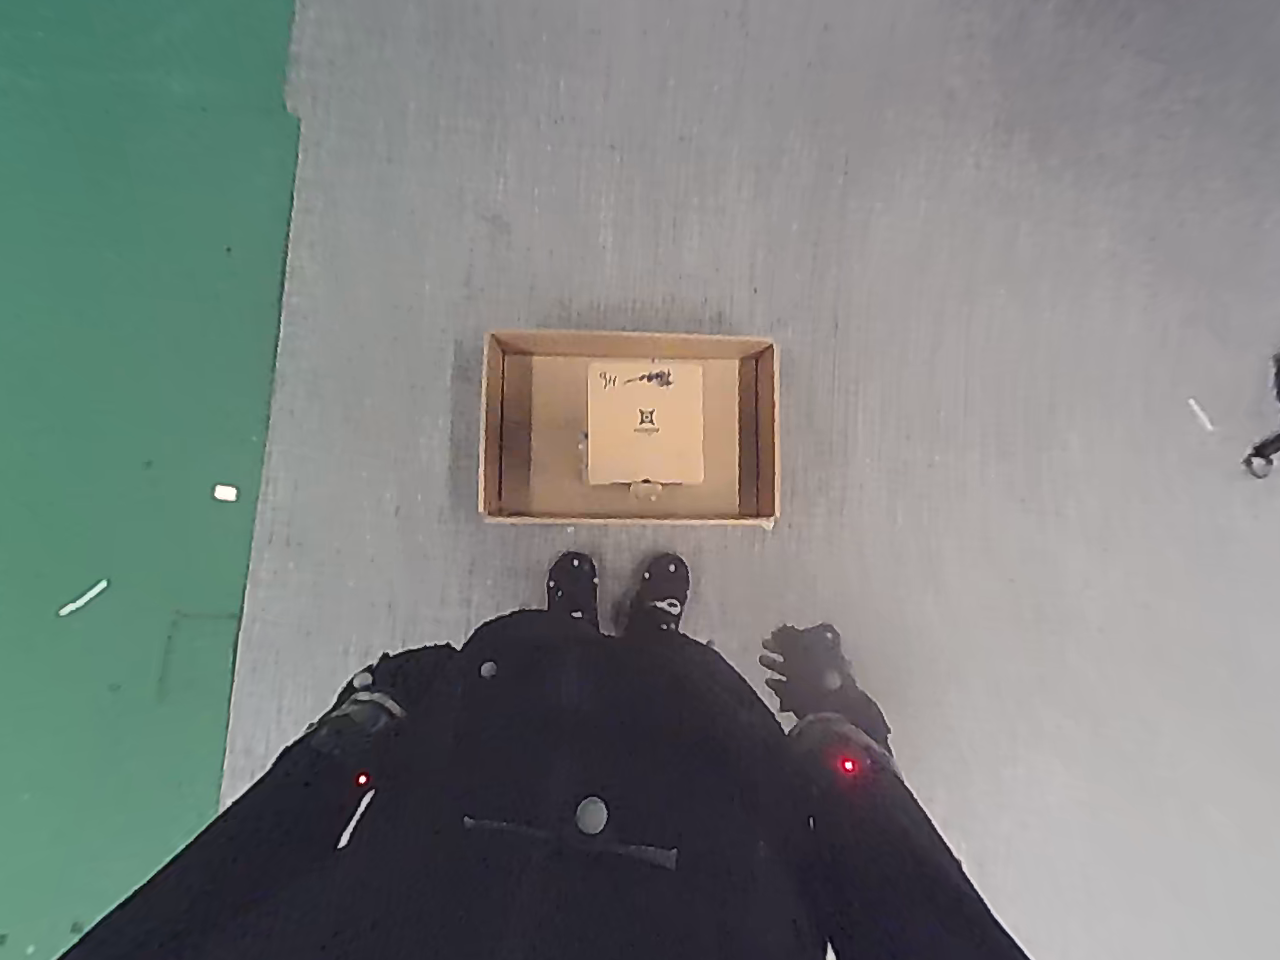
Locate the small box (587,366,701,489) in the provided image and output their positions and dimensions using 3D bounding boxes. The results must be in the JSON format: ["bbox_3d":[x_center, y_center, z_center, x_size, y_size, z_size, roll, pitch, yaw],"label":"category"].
[{"bbox_3d":[0.001,-0.074,0.851,0.168,0.176,0.179,-1,88,-4],"label":"small box"}]
